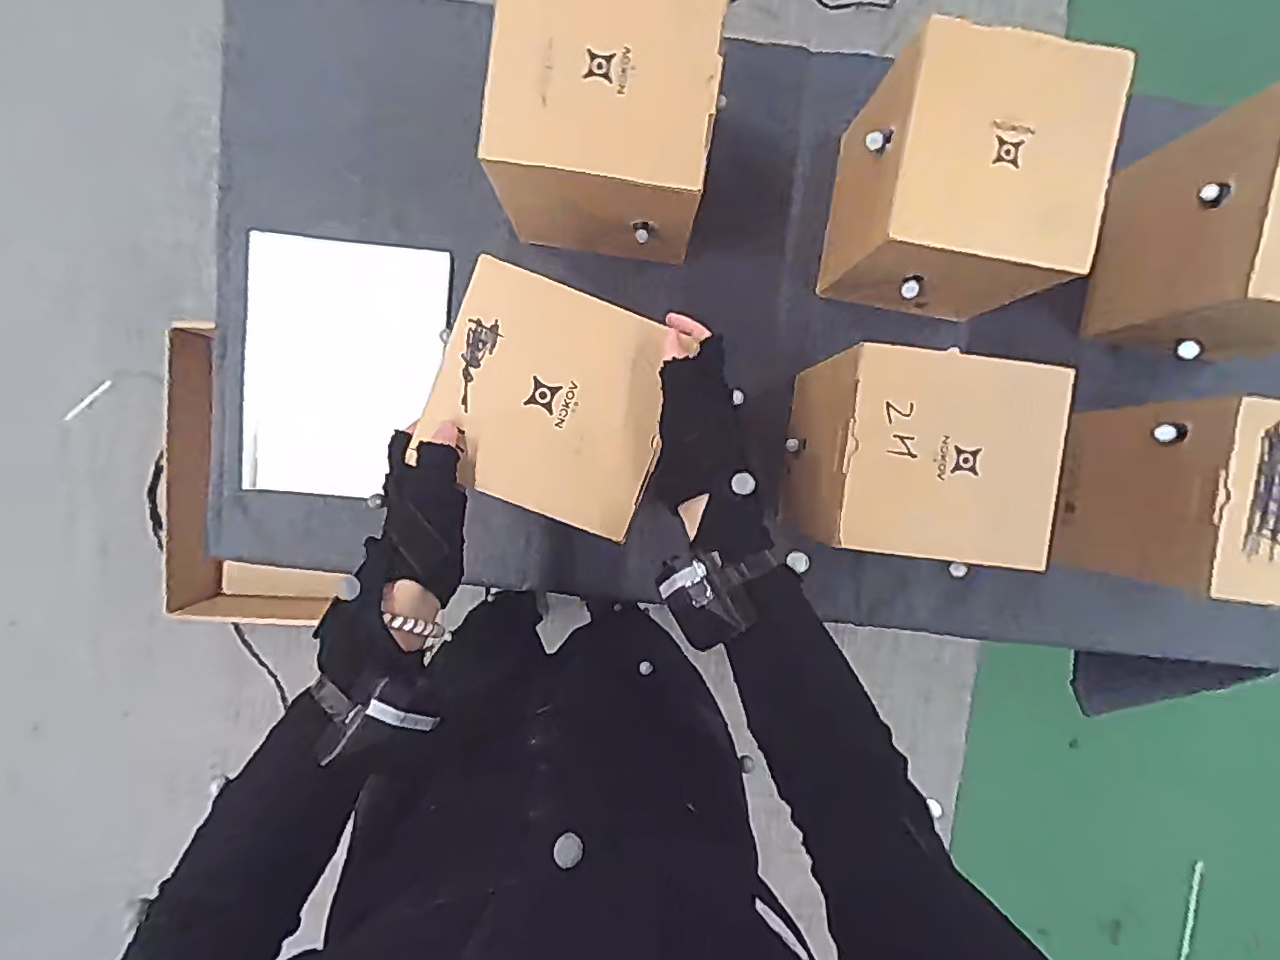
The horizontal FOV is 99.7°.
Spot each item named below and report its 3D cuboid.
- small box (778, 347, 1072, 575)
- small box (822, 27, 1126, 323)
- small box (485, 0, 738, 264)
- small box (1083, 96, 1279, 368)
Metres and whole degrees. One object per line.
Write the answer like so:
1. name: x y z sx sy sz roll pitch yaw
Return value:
1. small box: 0.248 -0.017 0.513 0.179 0.176 0.168 7 91 -1
2. small box: 0.287 -0.260 0.507 0.168 0.176 0.179 10 92 -1
3. small box: -0.025 -0.315 0.495 0.179 0.176 0.168 9 92 -2
4. small box: 0.573 -0.217 0.511 0.168 0.176 0.179 10 93 -1
